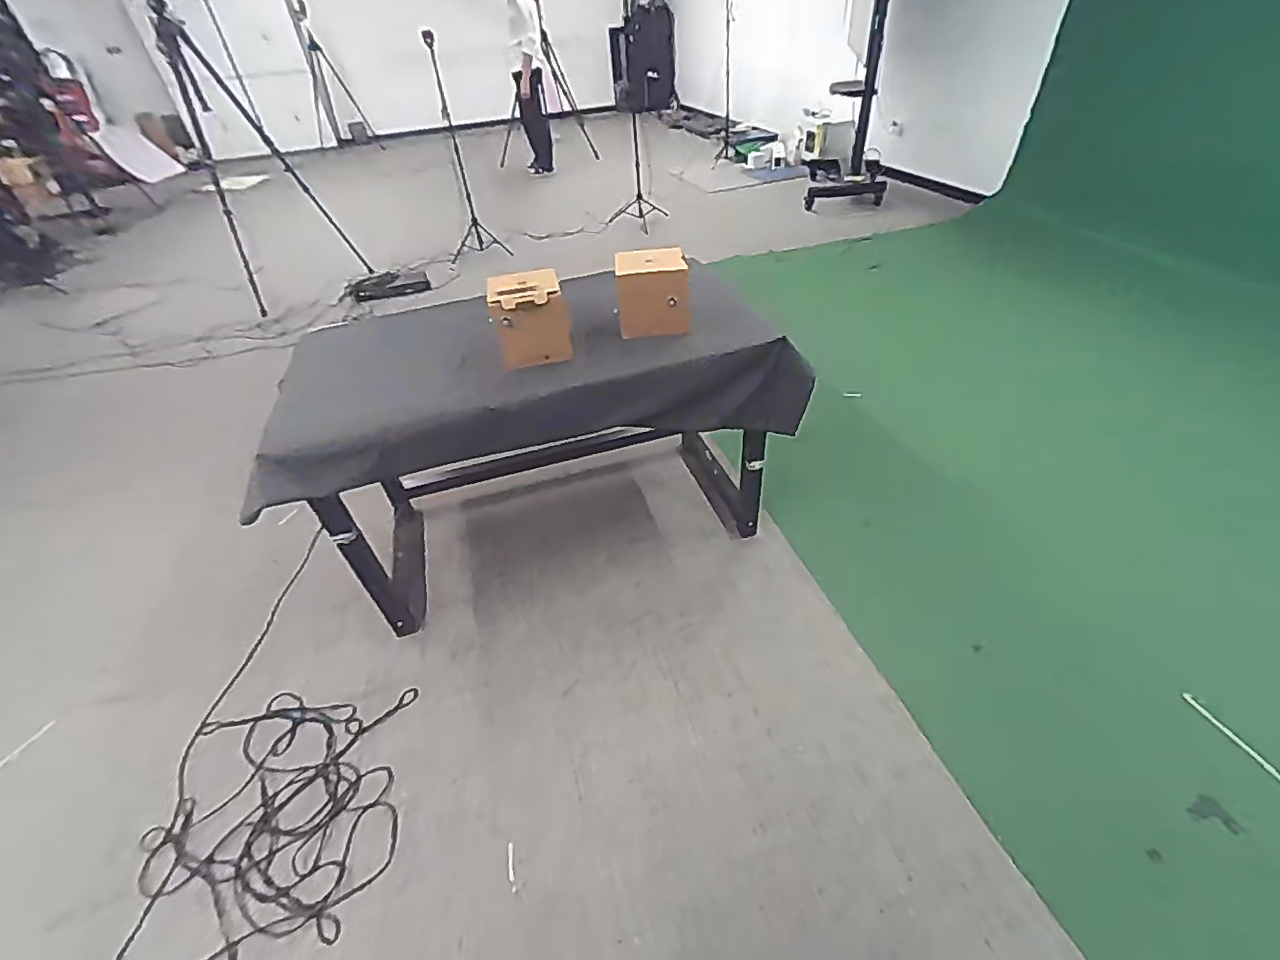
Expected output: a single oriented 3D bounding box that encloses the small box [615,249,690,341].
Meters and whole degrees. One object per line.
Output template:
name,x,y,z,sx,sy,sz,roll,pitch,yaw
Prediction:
small box,0.032,-0.473,1.385,0.179,0.176,0.168,-6,40,1
